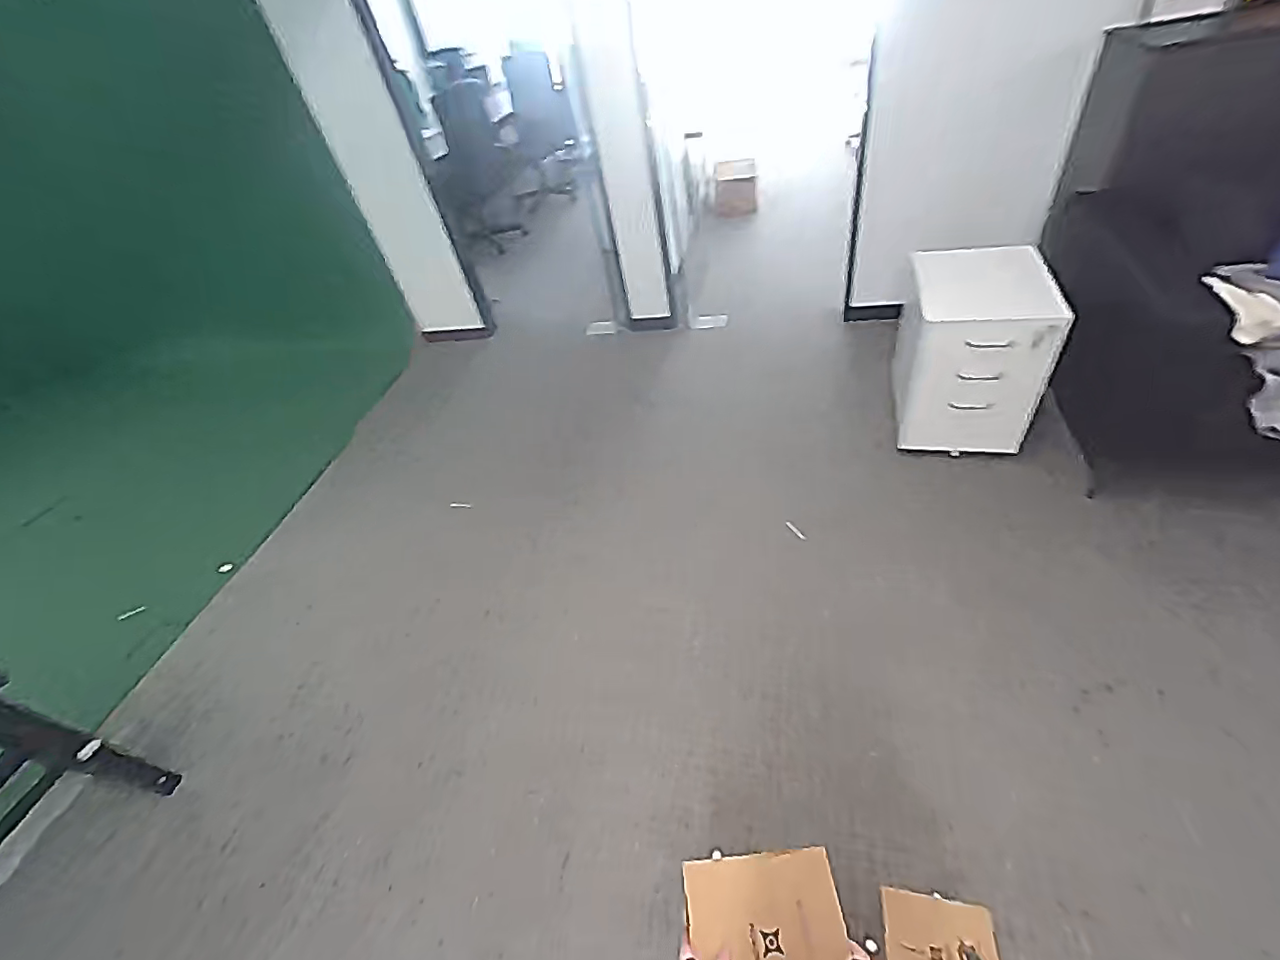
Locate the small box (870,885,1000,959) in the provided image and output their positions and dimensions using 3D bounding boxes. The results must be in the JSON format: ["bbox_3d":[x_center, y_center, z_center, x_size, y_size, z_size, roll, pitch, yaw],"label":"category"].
[{"bbox_3d":[0.514,0.846,0.950,0.179,0.176,0.168,2,45,16],"label":"small box"}]

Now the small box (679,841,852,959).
[{"bbox_3d":[0.149,0.561,0.661,0.179,0.176,0.168,-8,49,0],"label":"small box"}]
